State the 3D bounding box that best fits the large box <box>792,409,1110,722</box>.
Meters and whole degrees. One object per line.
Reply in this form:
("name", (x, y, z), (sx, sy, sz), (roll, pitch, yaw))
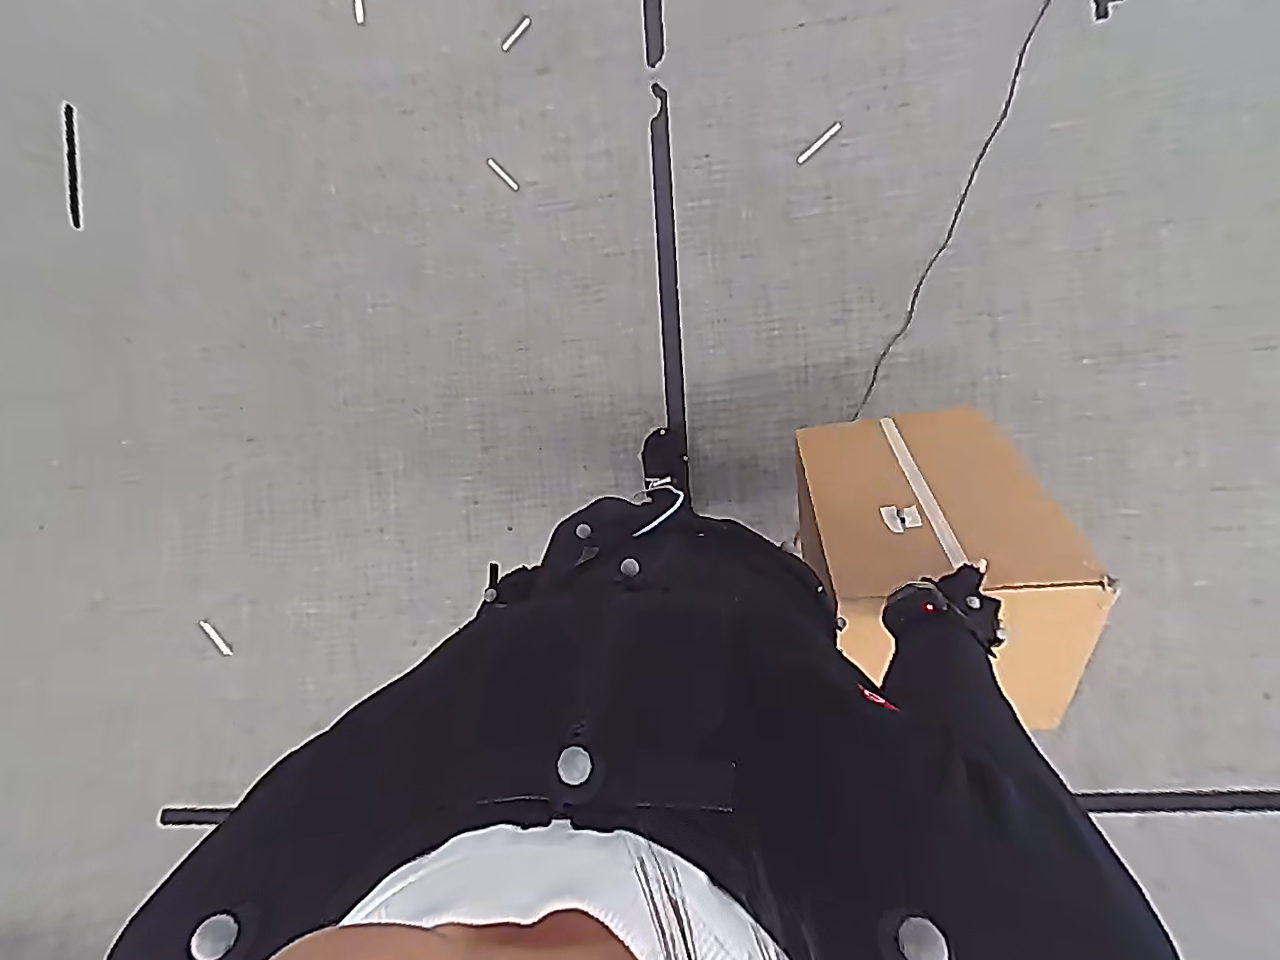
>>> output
("large box", (0.440, 0.130, 0.890), (0.320, 0.408, 0.320), (-7, 127, 13))
